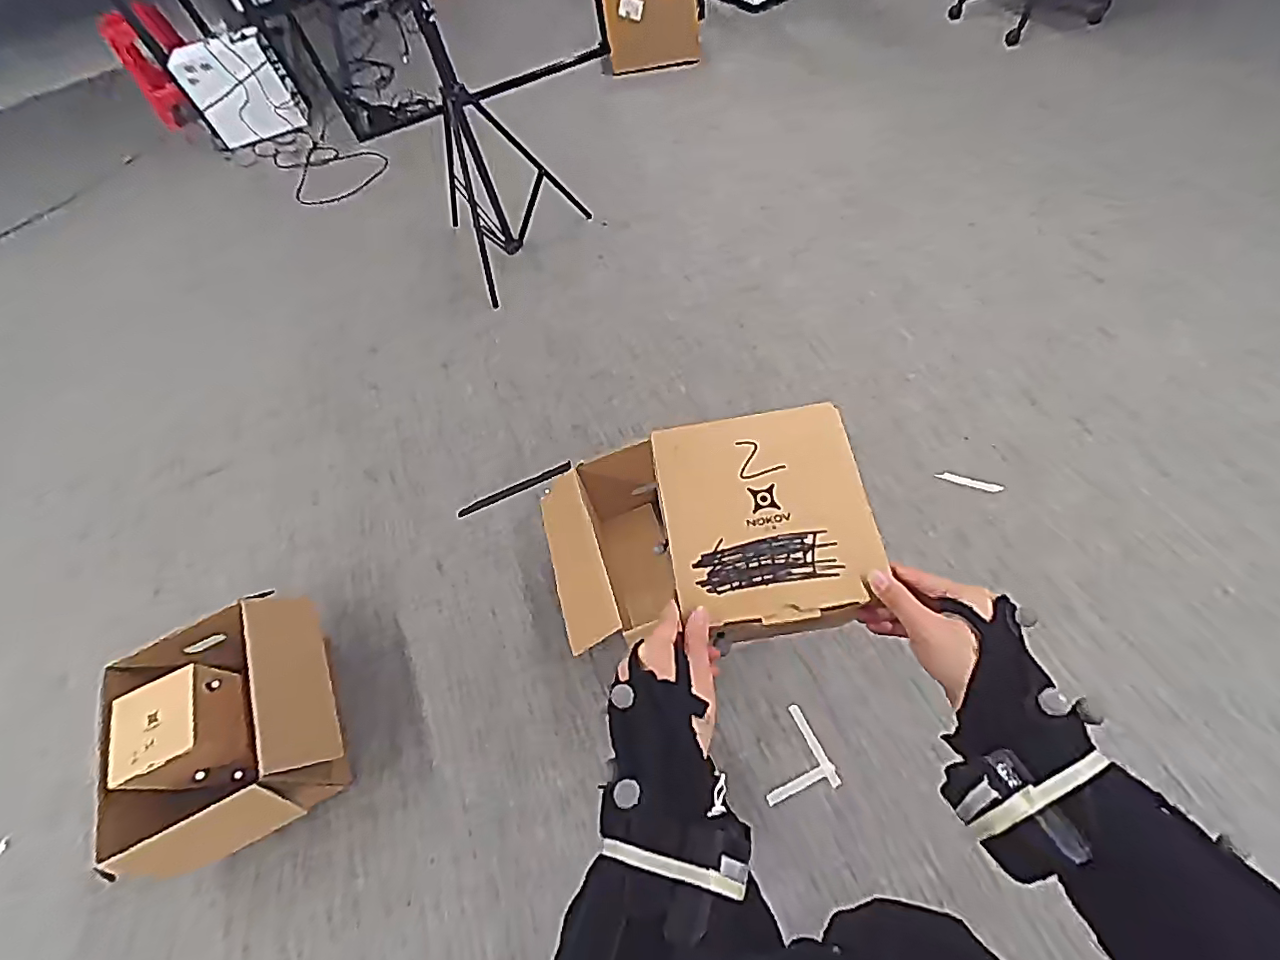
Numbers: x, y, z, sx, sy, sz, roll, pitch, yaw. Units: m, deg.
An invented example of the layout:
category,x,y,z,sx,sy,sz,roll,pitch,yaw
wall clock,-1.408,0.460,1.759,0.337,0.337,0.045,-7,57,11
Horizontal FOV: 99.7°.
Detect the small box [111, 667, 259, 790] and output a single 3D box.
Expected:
category,x,y,z,sx,sy,sz,roll,pitch,yaw
small box,-0.929,0.518,1.119,0.168,0.176,0.179,-26,60,-6
